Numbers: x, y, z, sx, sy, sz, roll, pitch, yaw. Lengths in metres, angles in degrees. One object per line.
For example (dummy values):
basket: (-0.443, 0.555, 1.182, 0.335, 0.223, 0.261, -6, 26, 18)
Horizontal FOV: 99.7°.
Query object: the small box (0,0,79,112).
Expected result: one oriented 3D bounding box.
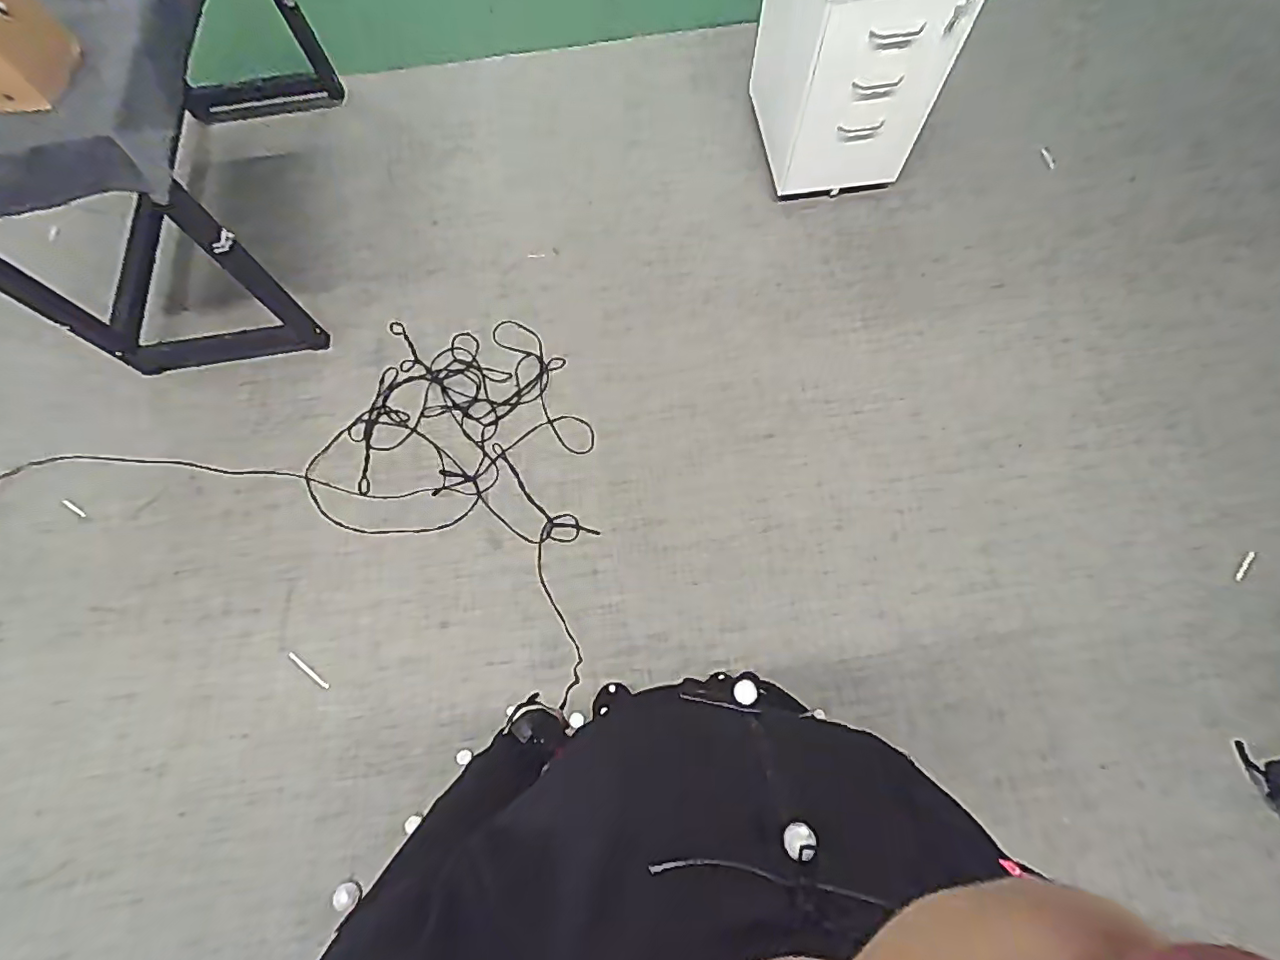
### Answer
small box: (-1.187, -0.796, 0.973, 0.168, 0.176, 0.179, -2, 69, 0)
